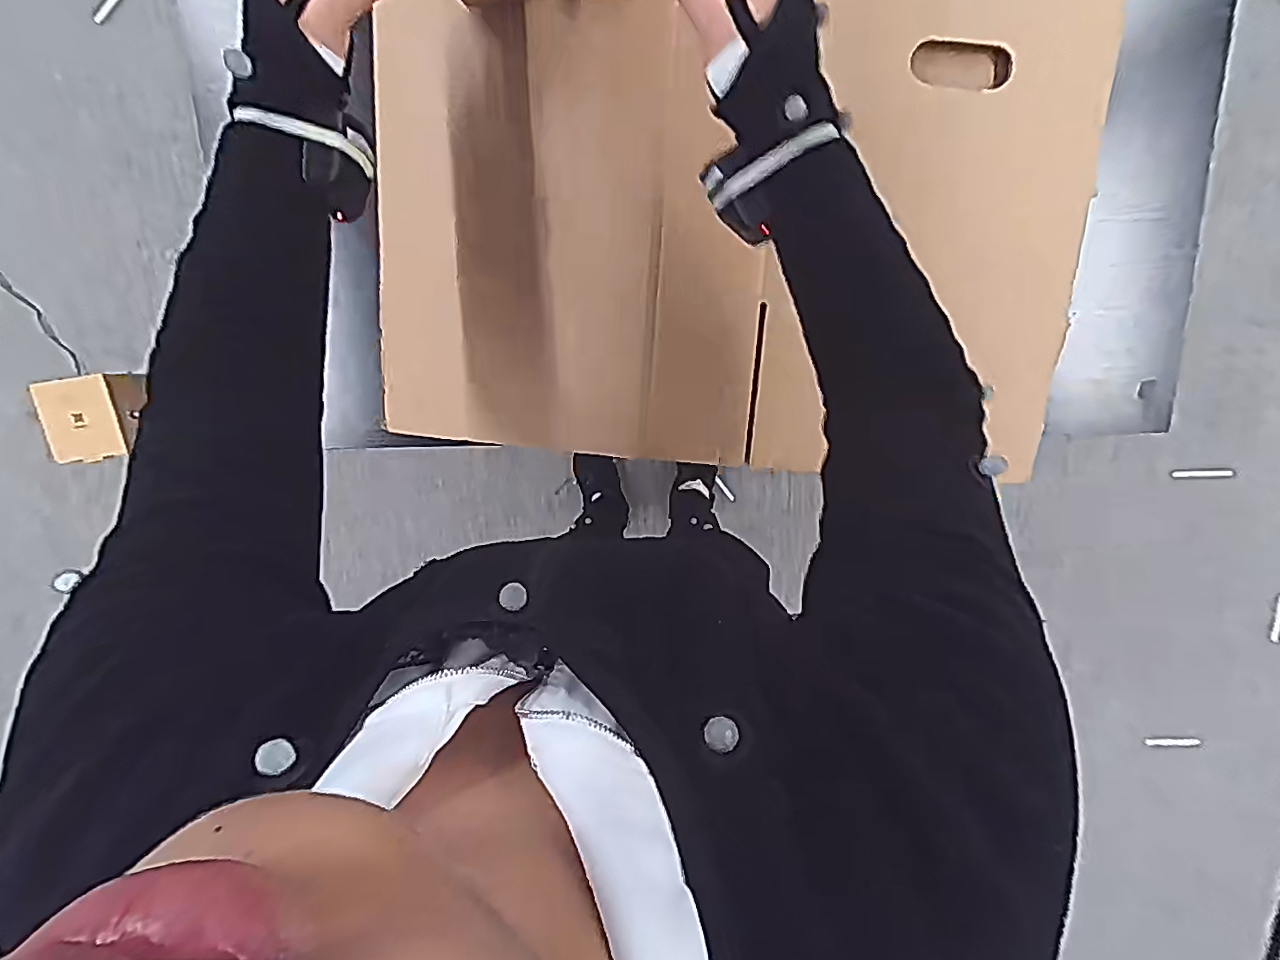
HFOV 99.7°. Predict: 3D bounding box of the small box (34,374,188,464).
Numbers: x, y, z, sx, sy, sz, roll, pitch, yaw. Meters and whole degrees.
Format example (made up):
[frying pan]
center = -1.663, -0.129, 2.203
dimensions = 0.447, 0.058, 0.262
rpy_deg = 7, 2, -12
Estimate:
[small box]
center = -1.184, -0.144, 1.228
dimensions = 0.168, 0.176, 0.179
rpy_deg = -8, 100, 2
